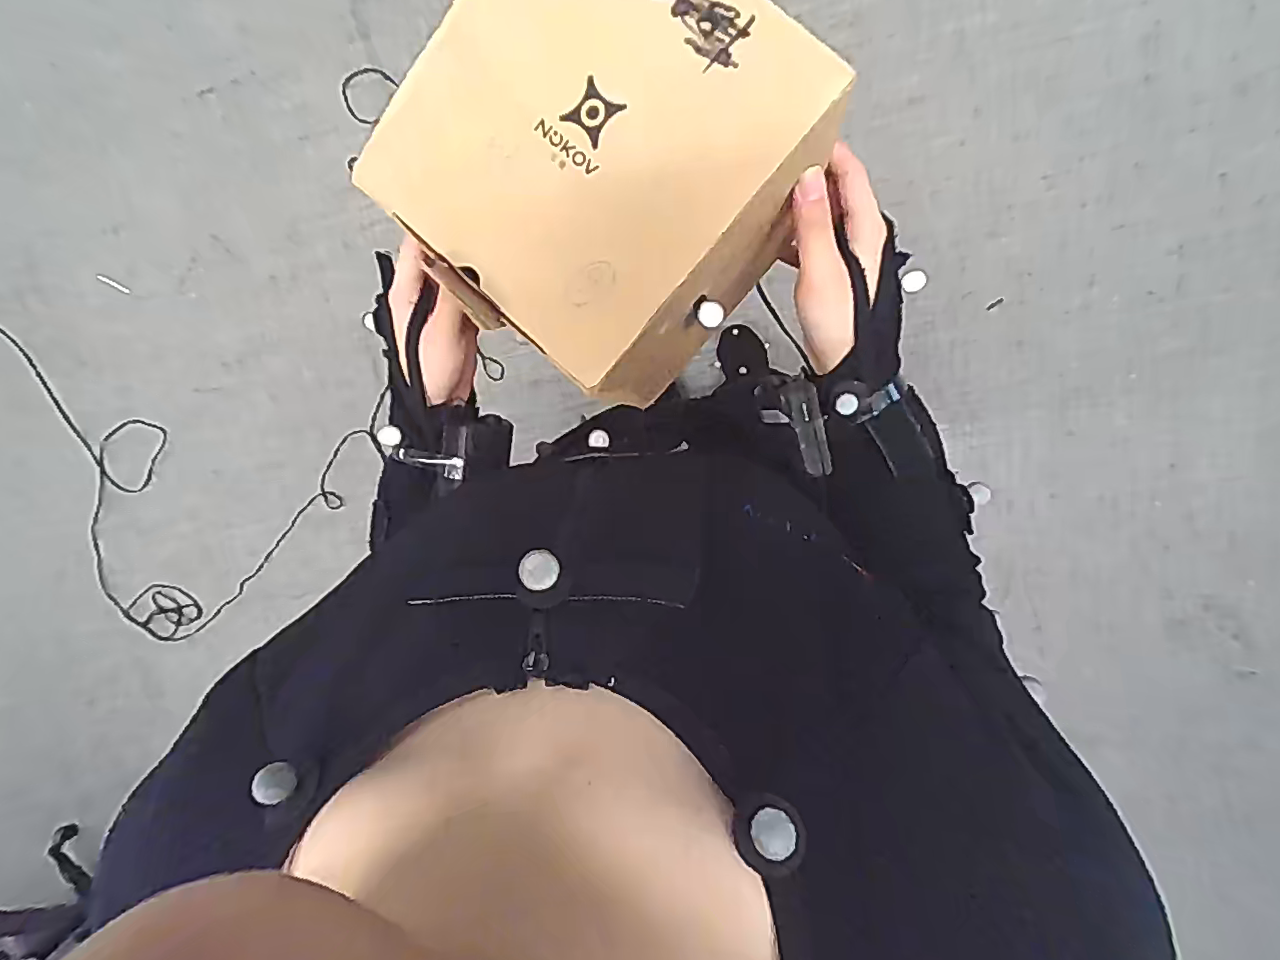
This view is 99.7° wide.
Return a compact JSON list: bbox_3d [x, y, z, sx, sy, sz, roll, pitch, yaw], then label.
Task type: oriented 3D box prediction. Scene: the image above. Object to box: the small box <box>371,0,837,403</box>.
[{"bbox_3d":[-0.011,-0.161,0.333,0.168,0.176,0.179,42,101,4],"label":"small box"}]
